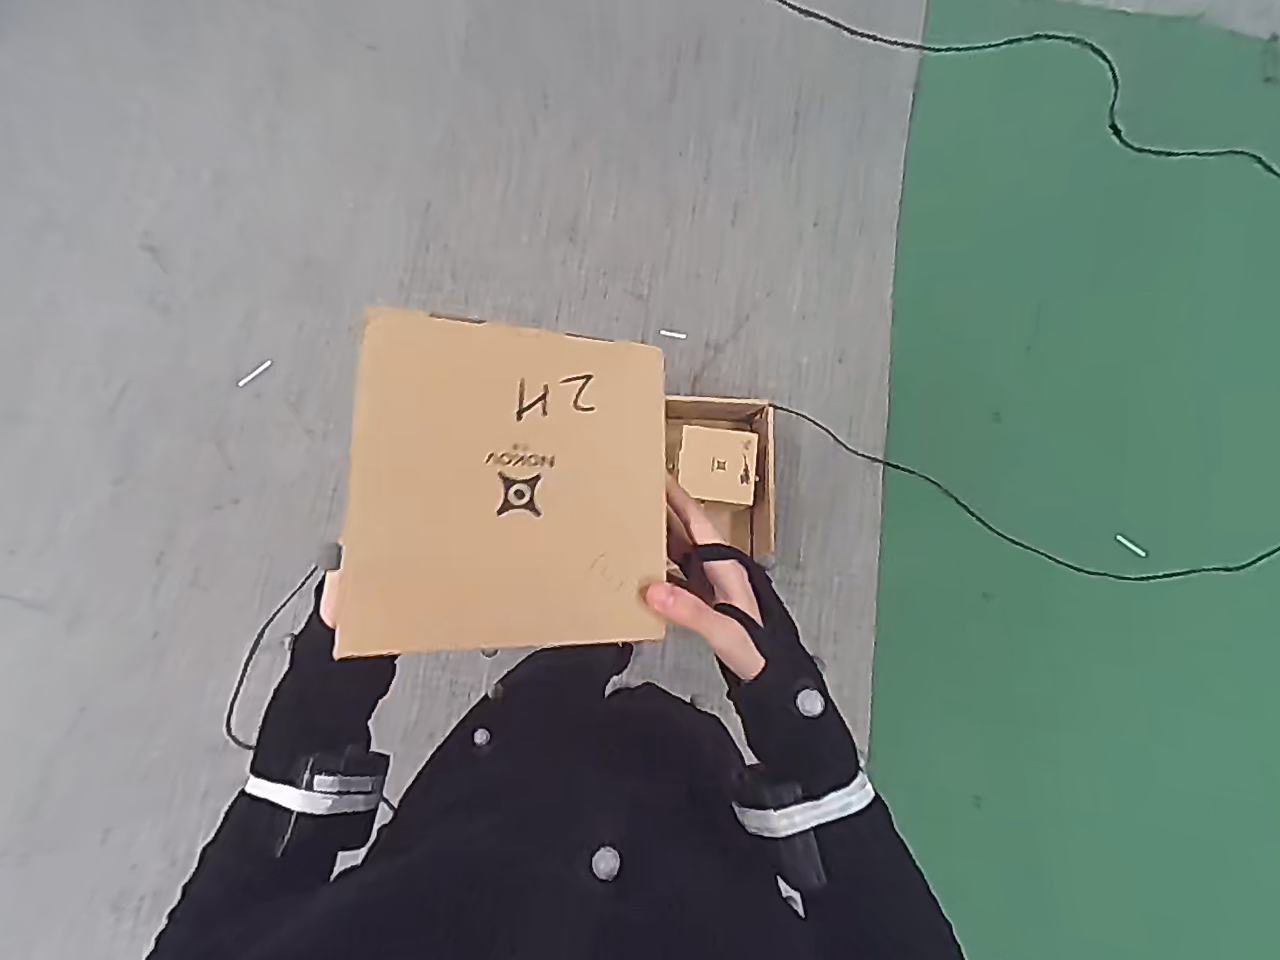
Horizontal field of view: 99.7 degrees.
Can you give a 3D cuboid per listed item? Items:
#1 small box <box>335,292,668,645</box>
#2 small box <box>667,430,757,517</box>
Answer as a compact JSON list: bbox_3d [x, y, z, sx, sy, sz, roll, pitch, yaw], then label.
[{"bbox_3d":[-0.088,0.007,0.360,0.168,0.176,0.179,4,80,-20],"label":"small box"},{"bbox_3d":[0.163,-0.008,1.280,0.179,0.176,0.168,8,80,-2],"label":"small box"}]
